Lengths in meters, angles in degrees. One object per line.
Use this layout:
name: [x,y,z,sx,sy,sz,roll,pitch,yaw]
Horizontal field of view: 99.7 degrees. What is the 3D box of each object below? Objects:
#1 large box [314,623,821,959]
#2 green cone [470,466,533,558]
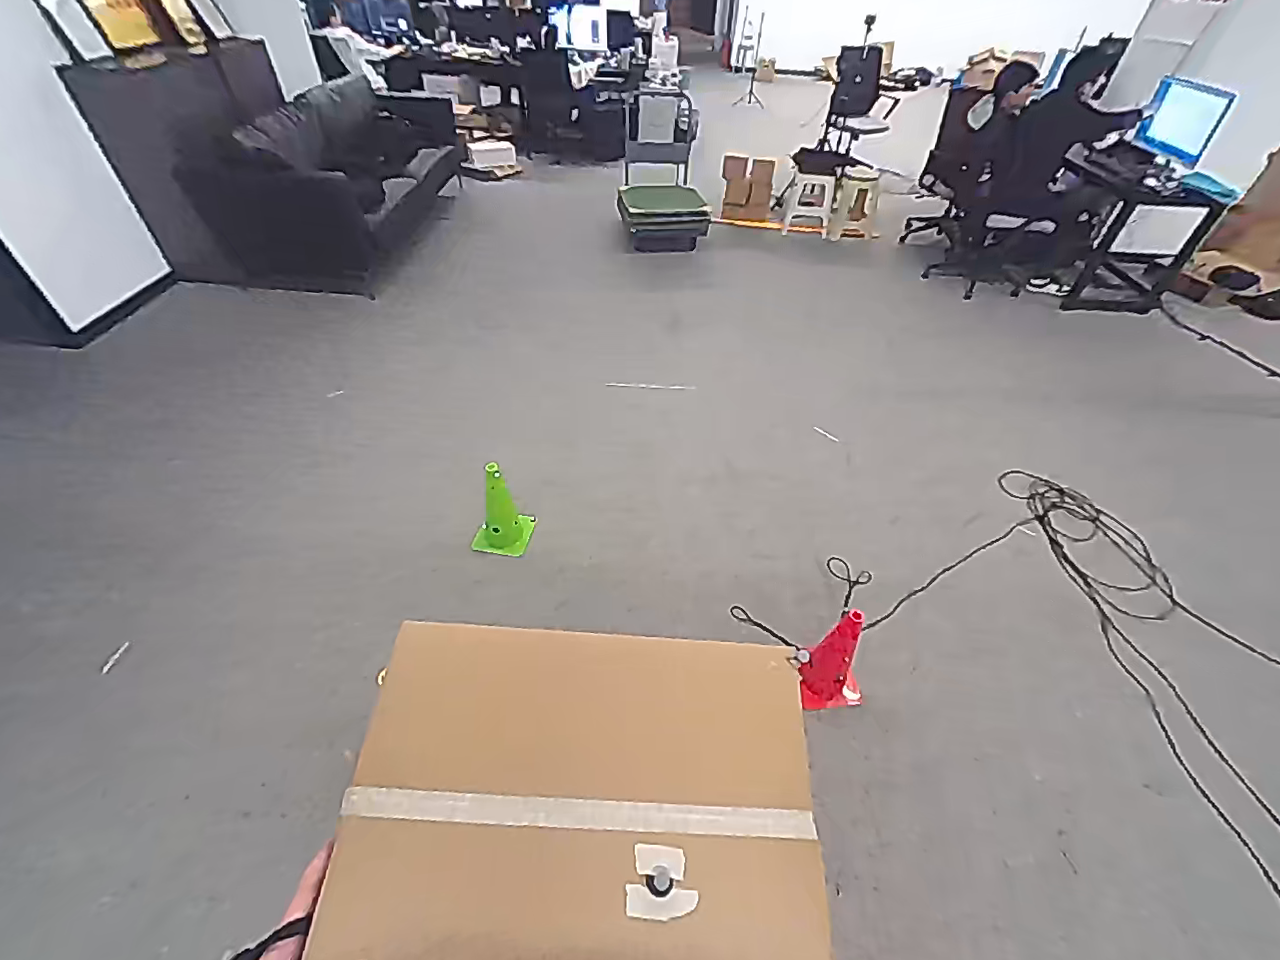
large box: [-0.061,0.371,0.605,0.408,0.320,0.320,5,57,-2]
green cone: [-0.525,0.088,1.956,0.200,0.368,0.202,8,46,5]
